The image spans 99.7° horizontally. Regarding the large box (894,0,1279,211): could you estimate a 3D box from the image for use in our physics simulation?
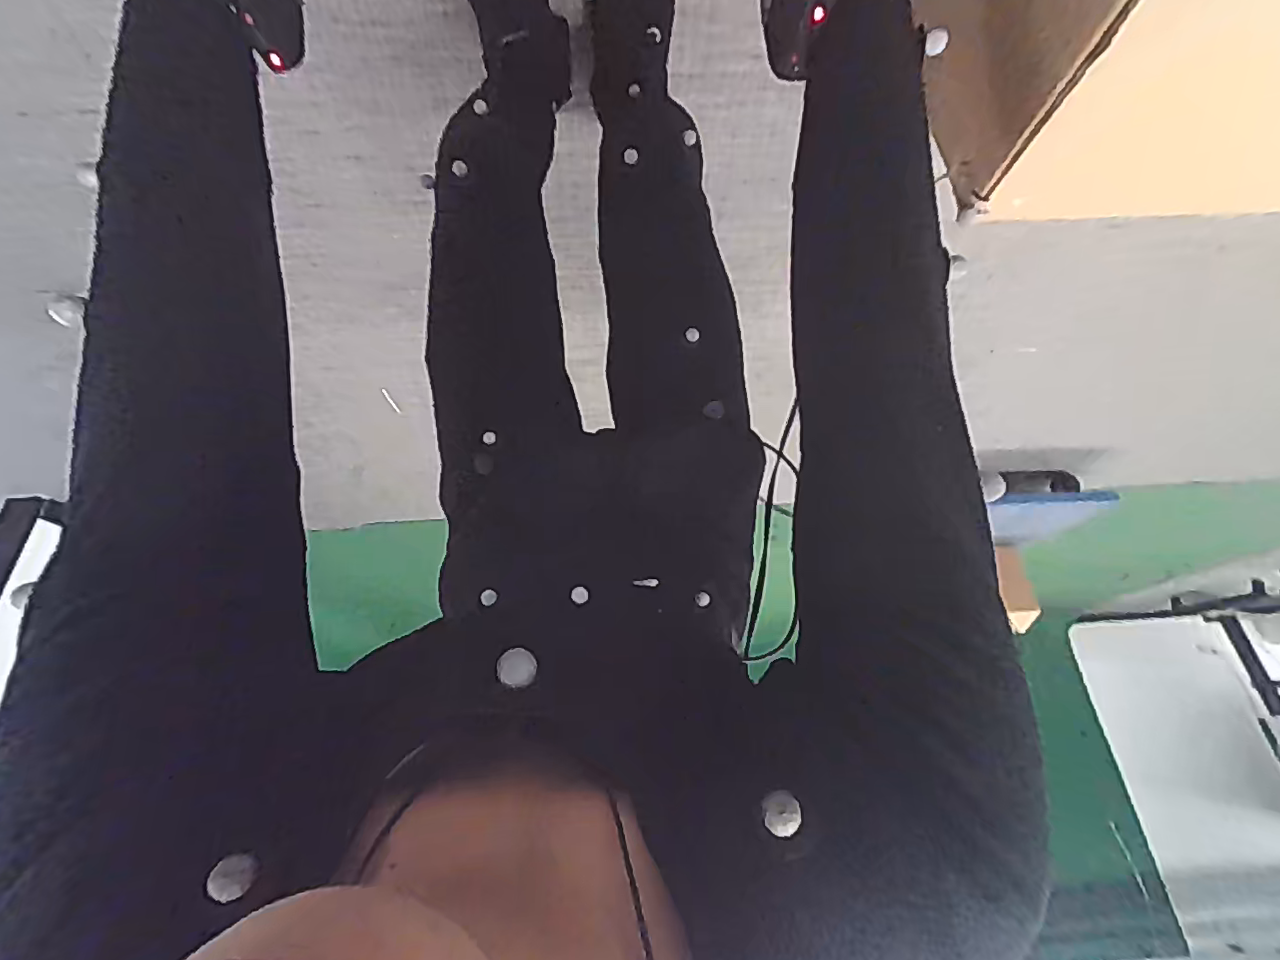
[{"bbox_3d":[0.409,-0.386,0.286,0.408,0.320,0.320,-2,158,-1],"label":"large box"}]
